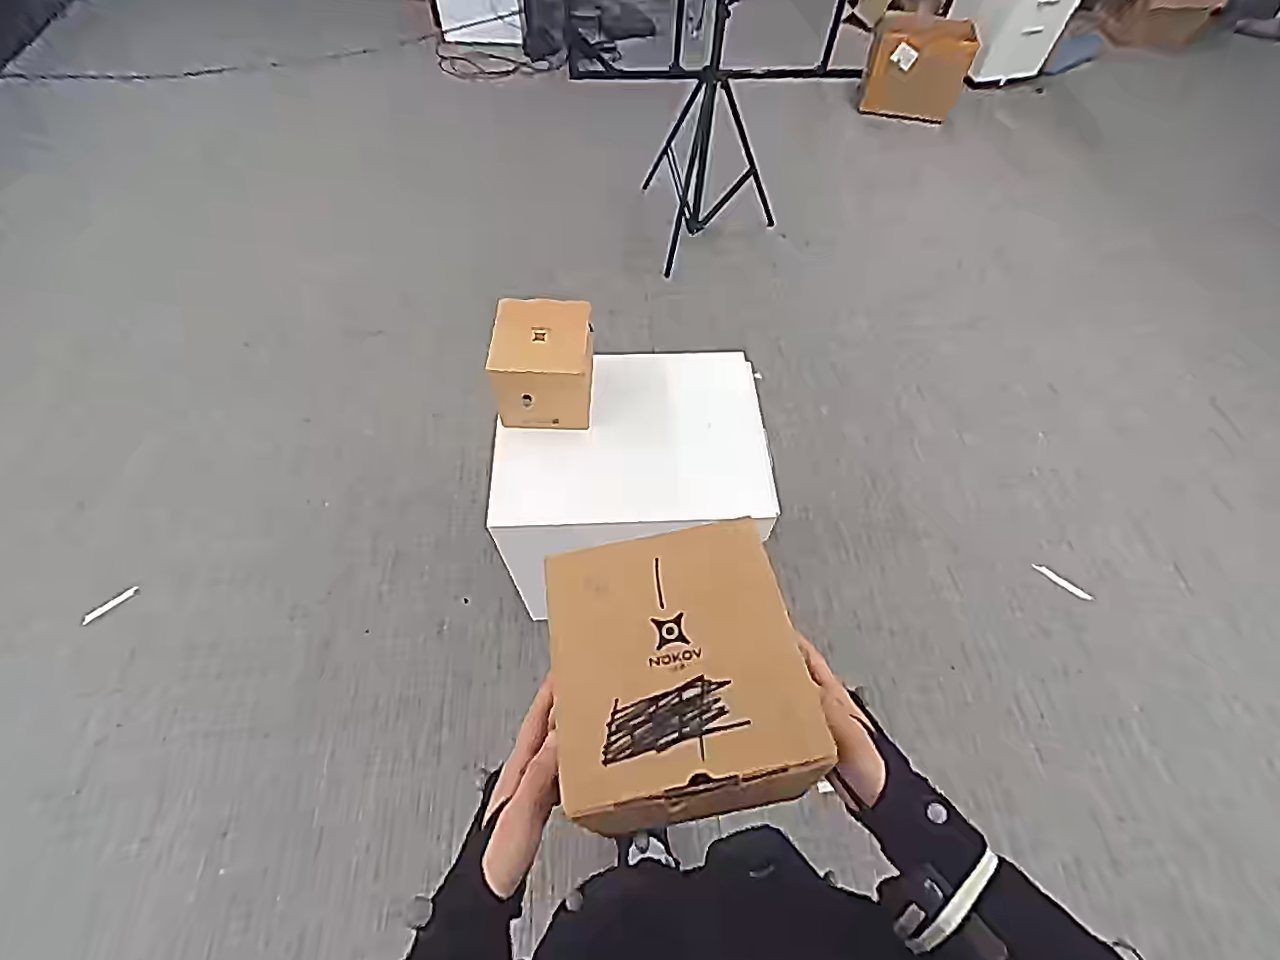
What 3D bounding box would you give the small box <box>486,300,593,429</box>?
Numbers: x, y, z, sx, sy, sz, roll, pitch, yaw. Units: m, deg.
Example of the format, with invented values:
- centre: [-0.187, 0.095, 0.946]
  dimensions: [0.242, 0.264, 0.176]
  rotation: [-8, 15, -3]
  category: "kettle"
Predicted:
- centre: [-0.176, -0.209, 1.007]
  dimensions: [0.168, 0.176, 0.179]
  rotation: [1, 59, -2]
  category: "small box"
